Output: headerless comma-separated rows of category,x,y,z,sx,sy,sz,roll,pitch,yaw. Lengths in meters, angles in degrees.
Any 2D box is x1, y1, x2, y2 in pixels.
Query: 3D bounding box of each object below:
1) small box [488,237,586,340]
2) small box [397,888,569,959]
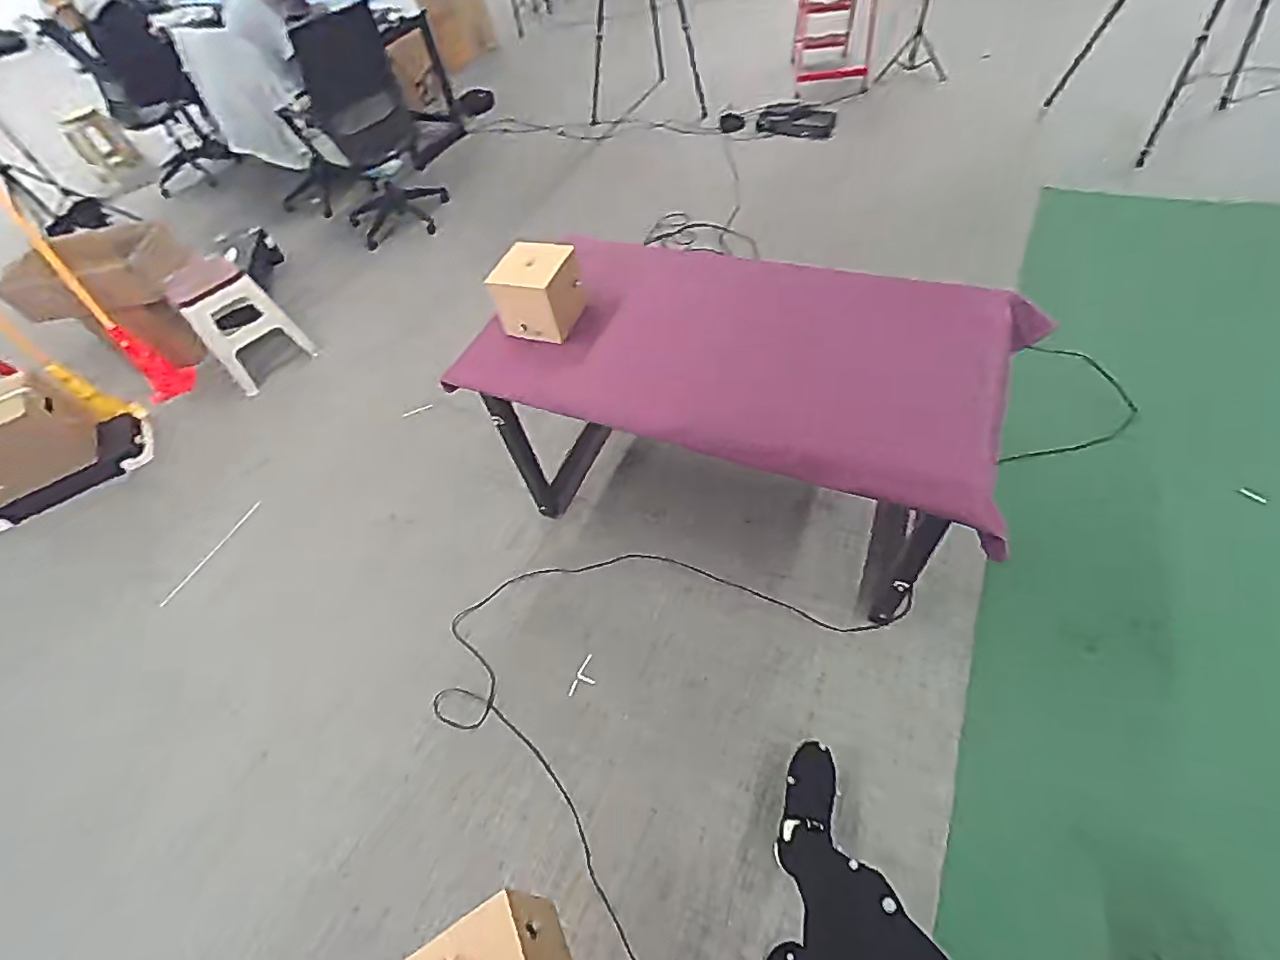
small box,-0.248,-0.481,1.361,0.168,0.176,0.179,13,58,18
small box,-0.181,0.644,0.653,0.168,0.176,0.179,-32,47,-10
